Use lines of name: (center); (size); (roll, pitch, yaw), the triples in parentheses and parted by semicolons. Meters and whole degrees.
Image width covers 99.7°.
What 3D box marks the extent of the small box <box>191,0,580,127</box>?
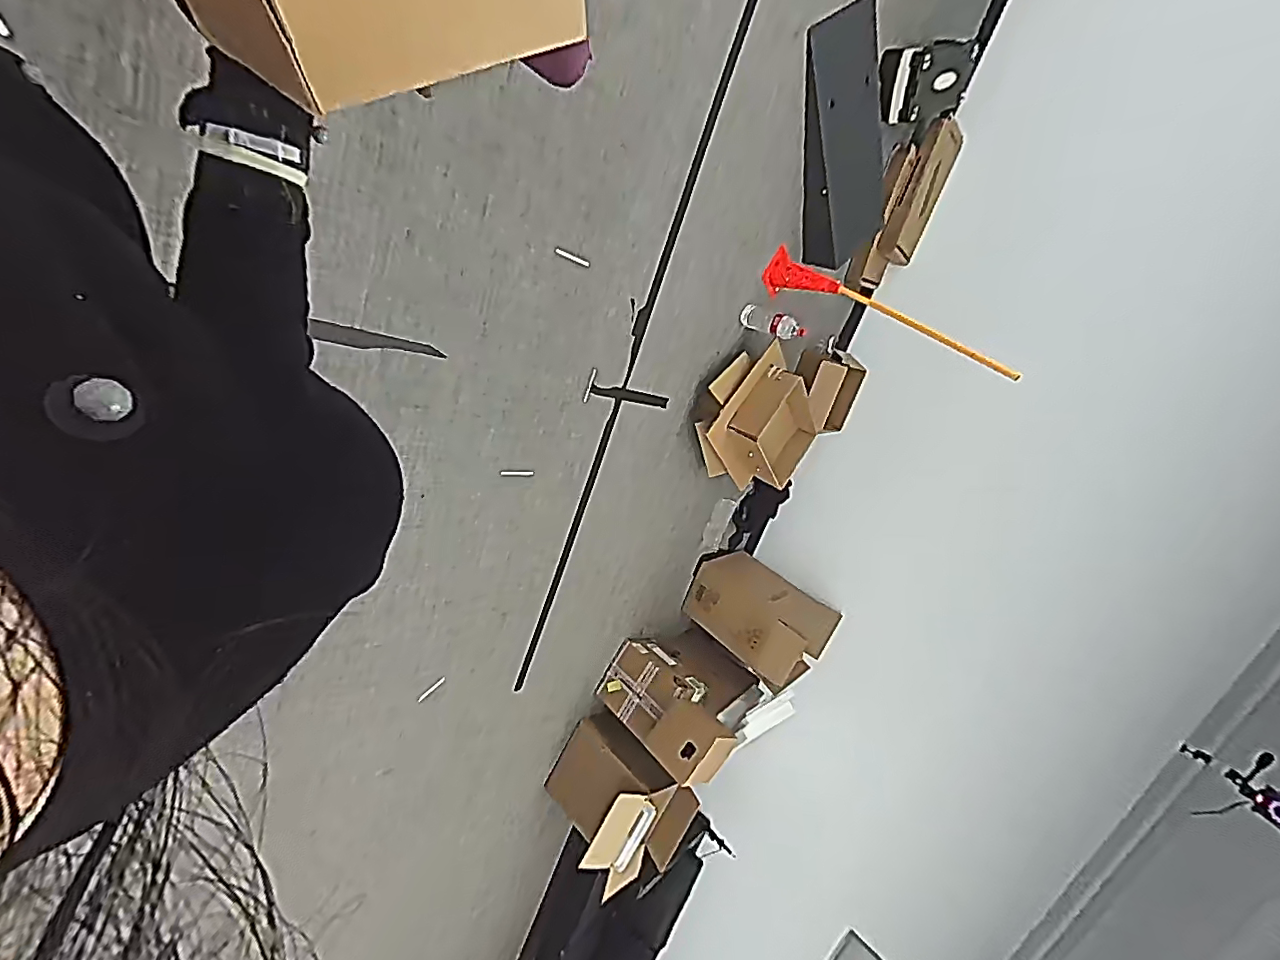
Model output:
small box: (-0.155, -0.326, 0.285); (0.179, 0.176, 0.168); (-37, 152, -23)
